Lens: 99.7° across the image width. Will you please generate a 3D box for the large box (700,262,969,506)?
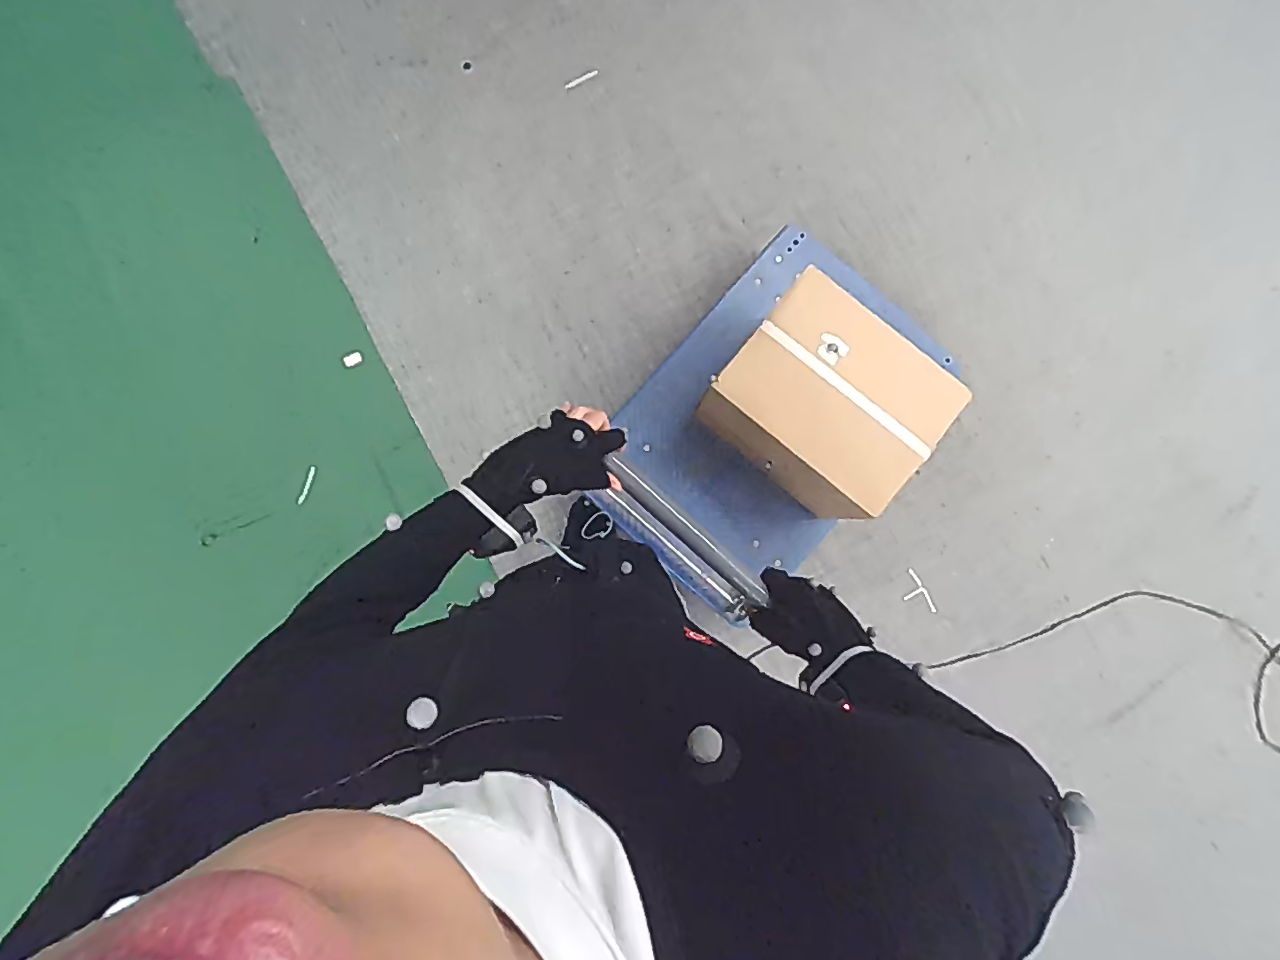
[{"bbox_3d":[0.391,-0.181,1.191,0.408,0.320,0.320,39,87,3],"label":"large box"}]
